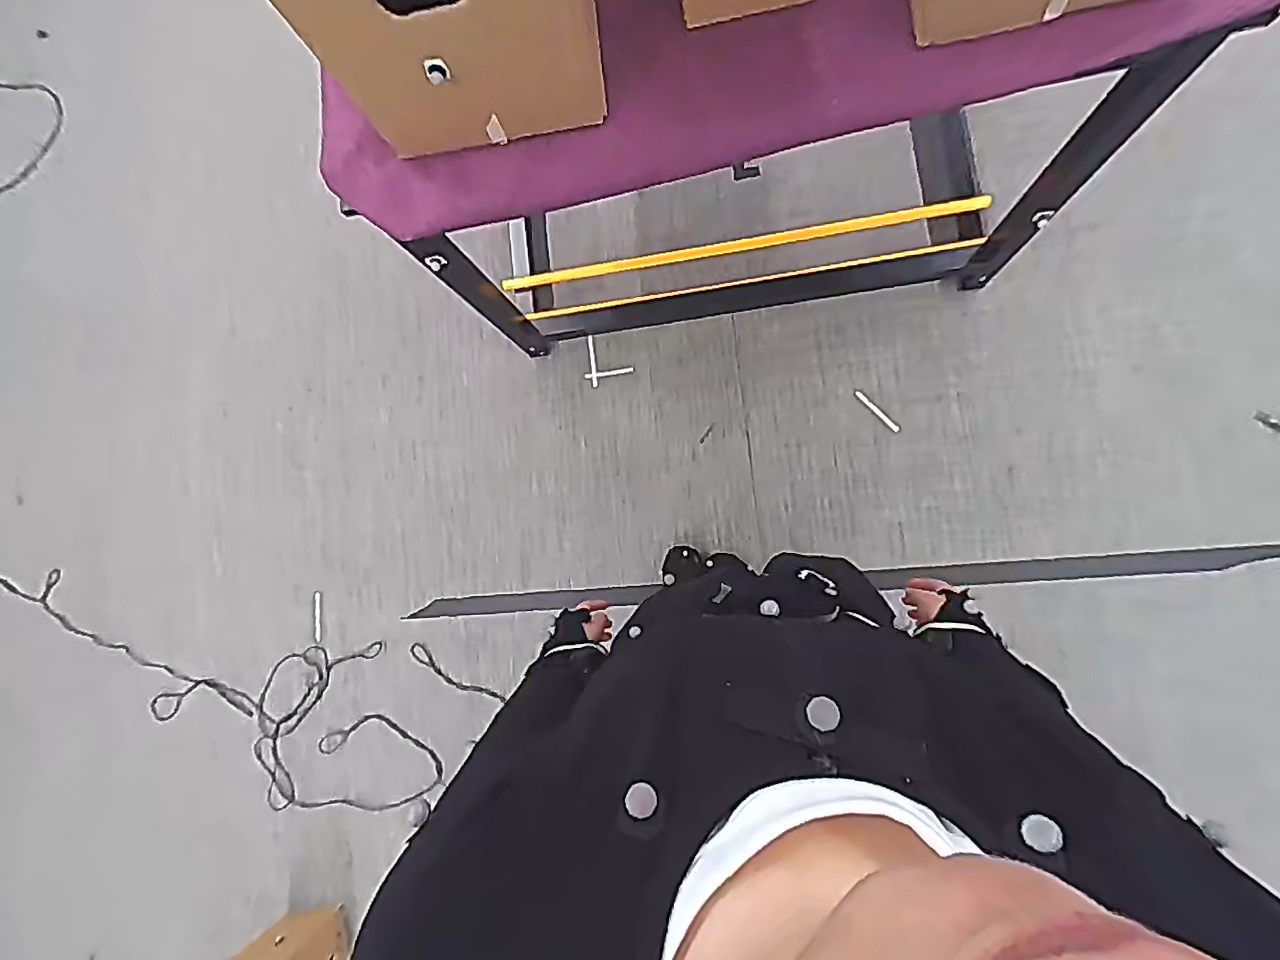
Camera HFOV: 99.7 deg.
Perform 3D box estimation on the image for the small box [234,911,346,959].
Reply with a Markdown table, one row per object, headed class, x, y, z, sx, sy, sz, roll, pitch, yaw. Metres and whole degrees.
| class | x | y | z | sx | sy | sz | roll | pitch | yaw |
| --- | --- | --- | --- | --- | --- | --- | --- | --- | --- |
| small box | -0.883 | 1.241 | 1.371 | 0.179 | 0.176 | 0.168 | -13 | 82 | 8 |
